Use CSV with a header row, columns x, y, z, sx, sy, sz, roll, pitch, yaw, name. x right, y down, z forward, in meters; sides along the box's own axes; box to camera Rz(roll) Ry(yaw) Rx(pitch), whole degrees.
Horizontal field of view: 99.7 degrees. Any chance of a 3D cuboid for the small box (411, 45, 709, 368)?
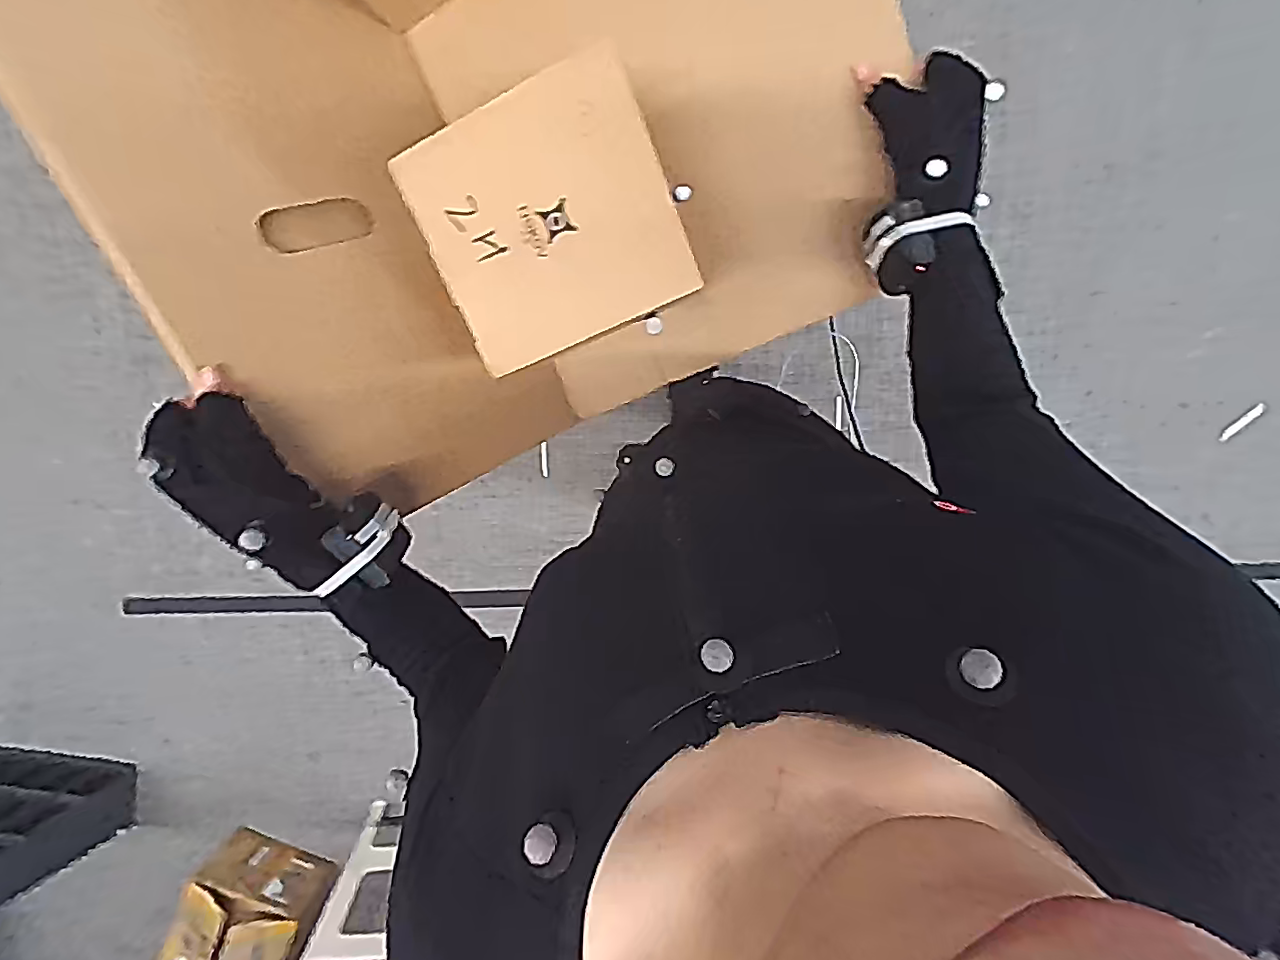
x,y,z,sx,sy,sz,roll,pitch,yaw,name
-0.049,-0.211,0.464,0.179,0.176,0.168,-18,104,13,small box
